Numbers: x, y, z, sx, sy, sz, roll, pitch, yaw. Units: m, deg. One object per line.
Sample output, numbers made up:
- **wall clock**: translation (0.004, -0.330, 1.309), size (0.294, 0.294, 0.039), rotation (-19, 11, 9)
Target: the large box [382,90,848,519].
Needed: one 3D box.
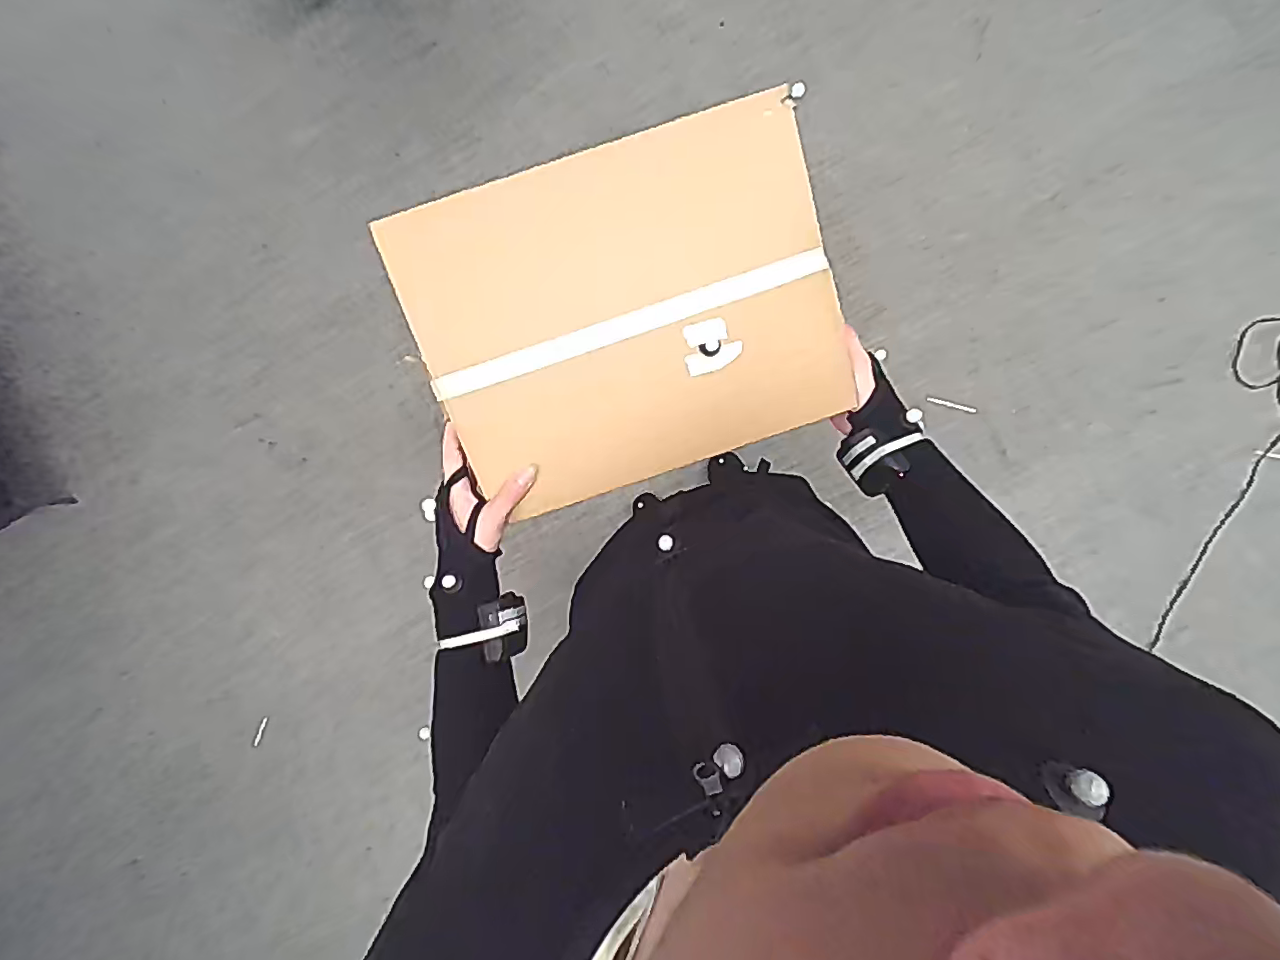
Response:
- **large box**: translation (-0.025, -0.195, 0.685), size (0.408, 0.320, 0.320), rotation (-19, 105, -1)
